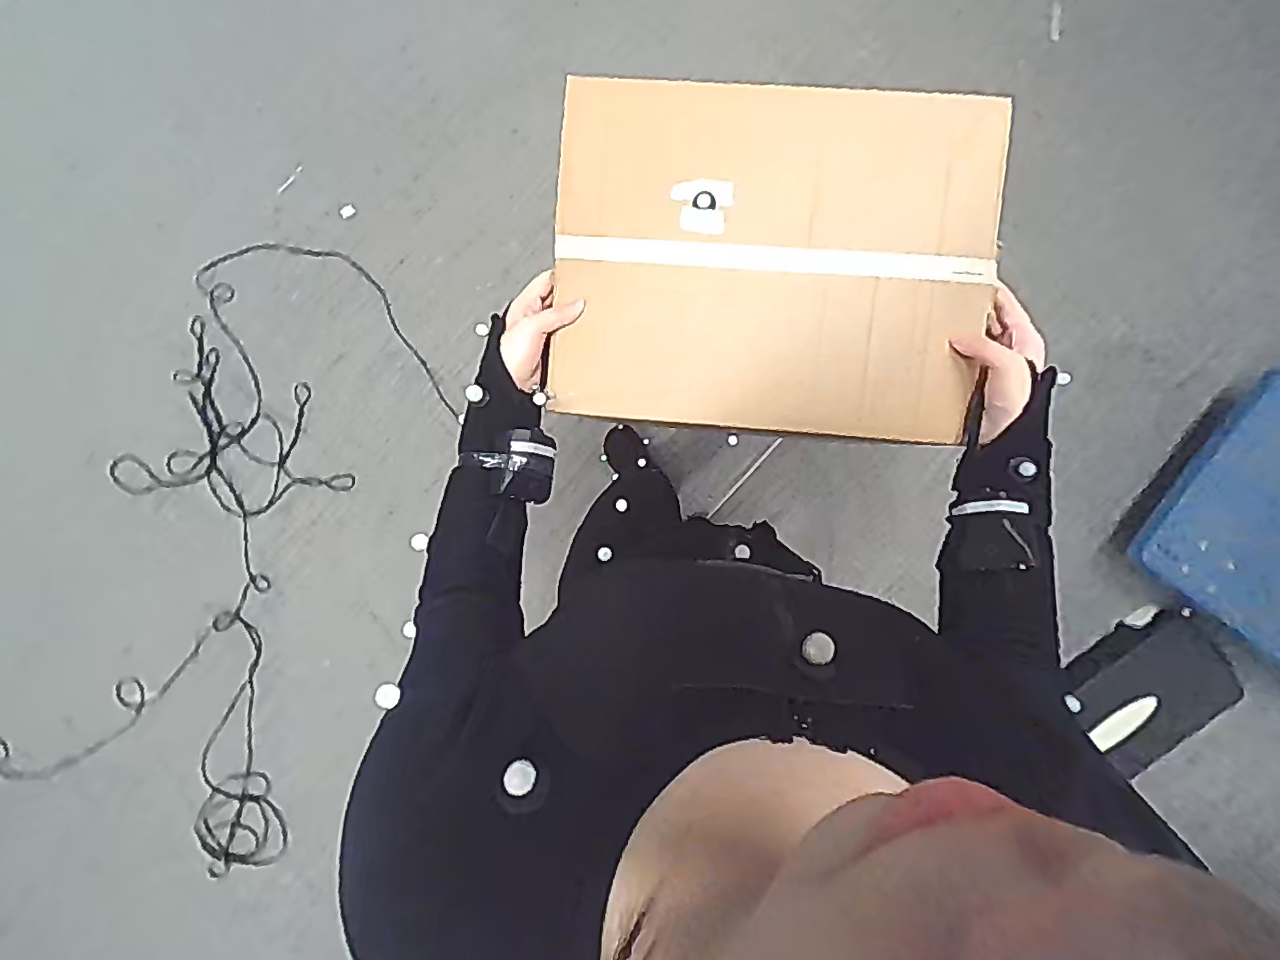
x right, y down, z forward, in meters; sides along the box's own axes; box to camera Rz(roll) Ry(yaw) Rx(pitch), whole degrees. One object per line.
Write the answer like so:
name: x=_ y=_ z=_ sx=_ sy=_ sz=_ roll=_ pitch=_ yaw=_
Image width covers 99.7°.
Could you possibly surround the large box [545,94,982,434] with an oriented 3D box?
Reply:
large box: x=0.122 y=-0.223 z=0.667 sx=0.408 sy=0.320 sz=0.320 roll=4 pitch=95 yaw=5
